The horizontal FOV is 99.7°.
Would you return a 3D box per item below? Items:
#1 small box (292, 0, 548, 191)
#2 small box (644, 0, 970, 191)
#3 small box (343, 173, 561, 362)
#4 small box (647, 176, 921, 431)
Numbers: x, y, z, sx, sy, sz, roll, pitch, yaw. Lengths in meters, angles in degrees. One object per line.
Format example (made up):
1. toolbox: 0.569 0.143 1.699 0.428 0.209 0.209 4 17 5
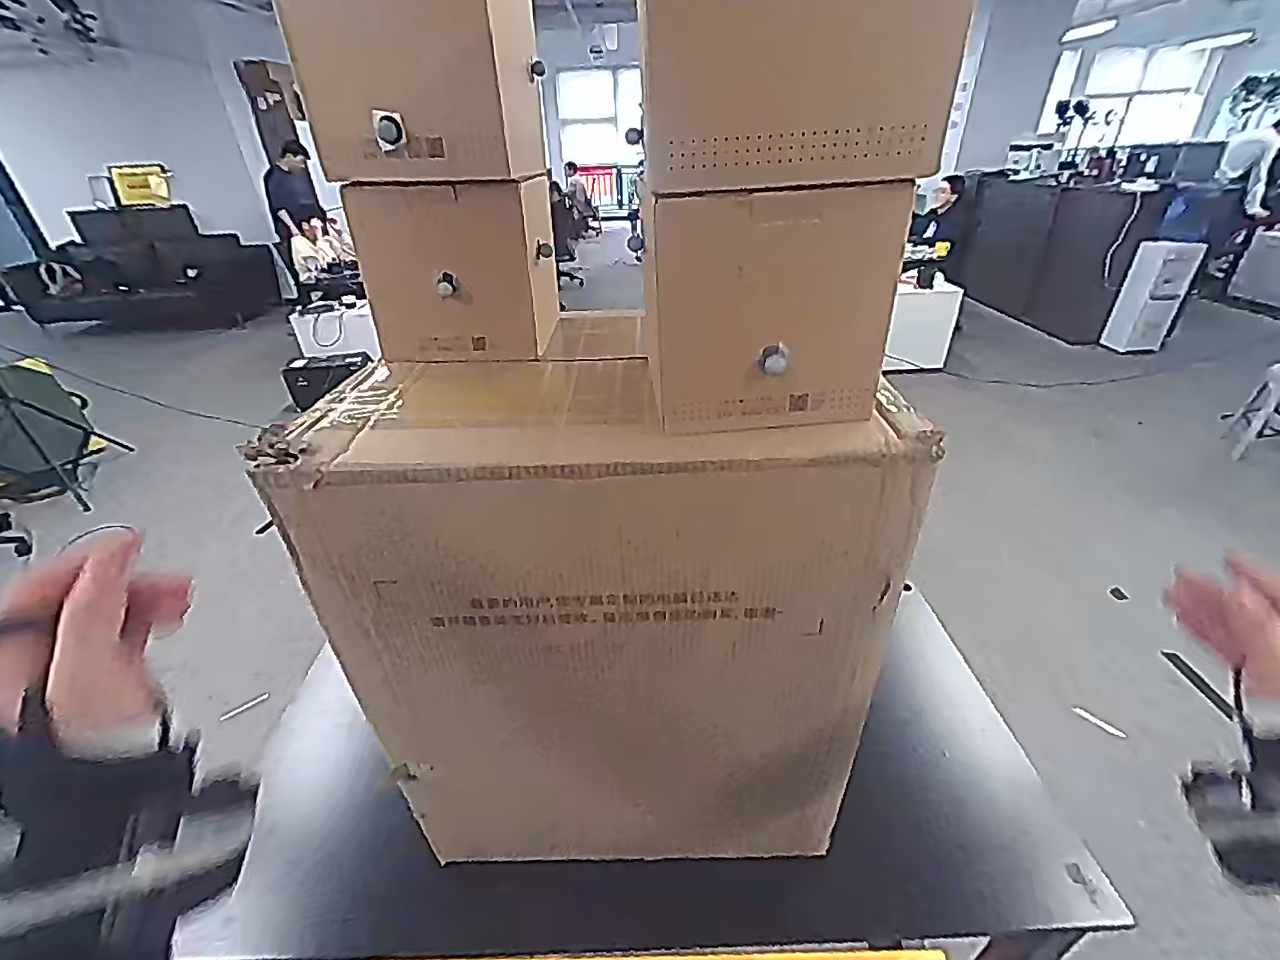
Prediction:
1. small box: -0.183 -0.365 0.493 0.168 0.176 0.179 -1 32 2
2. small box: 0.091 -0.286 0.347 0.179 0.176 0.168 -2 33 1
3. small box: -0.183 -0.235 0.593 0.168 0.176 0.179 -1 32 0
4. small box: 0.093 -0.154 0.446 0.168 0.176 0.179 -5 33 0
